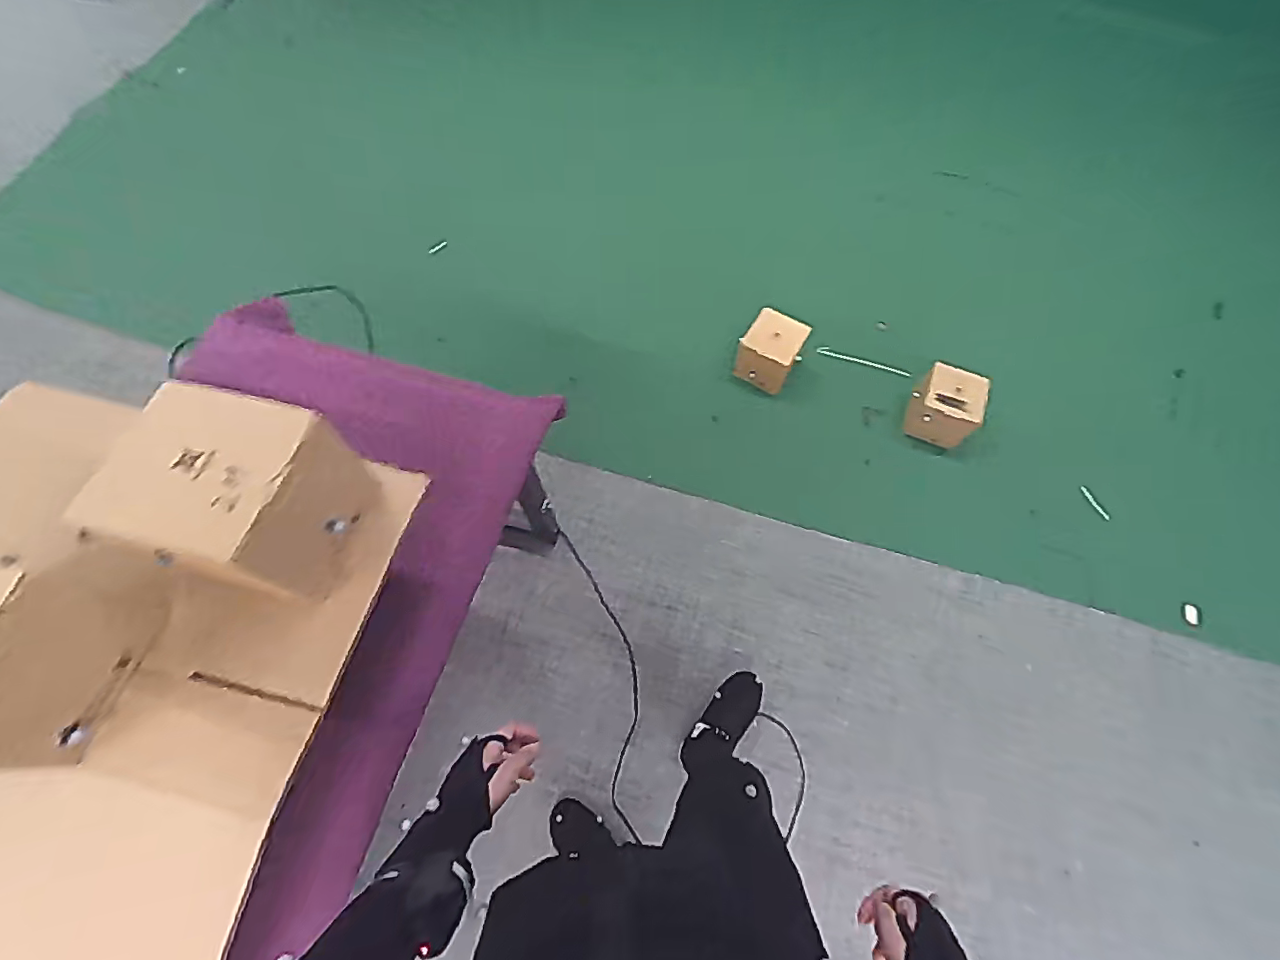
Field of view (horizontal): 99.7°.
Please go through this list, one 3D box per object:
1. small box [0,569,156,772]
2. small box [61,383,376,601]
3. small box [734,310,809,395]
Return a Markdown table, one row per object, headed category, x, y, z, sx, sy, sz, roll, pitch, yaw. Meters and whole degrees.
| category | x | y | z | sx | sy | sz | roll | pitch | yaw |
| --- | --- | --- | --- | --- | --- | --- | --- | --- | --- |
| small box | -0.638 | 0.172 | 0.516 | 0.179 | 0.176 | 0.168 | 12 | 64 | 5 |
| small box | -0.435 | 0.022 | 0.597 | 0.179 | 0.176 | 0.168 | 13 | 65 | 4 |
| small box | 0.424 | -0.415 | 1.775 | 0.168 | 0.176 | 0.179 | 30 | 71 | 12 |
